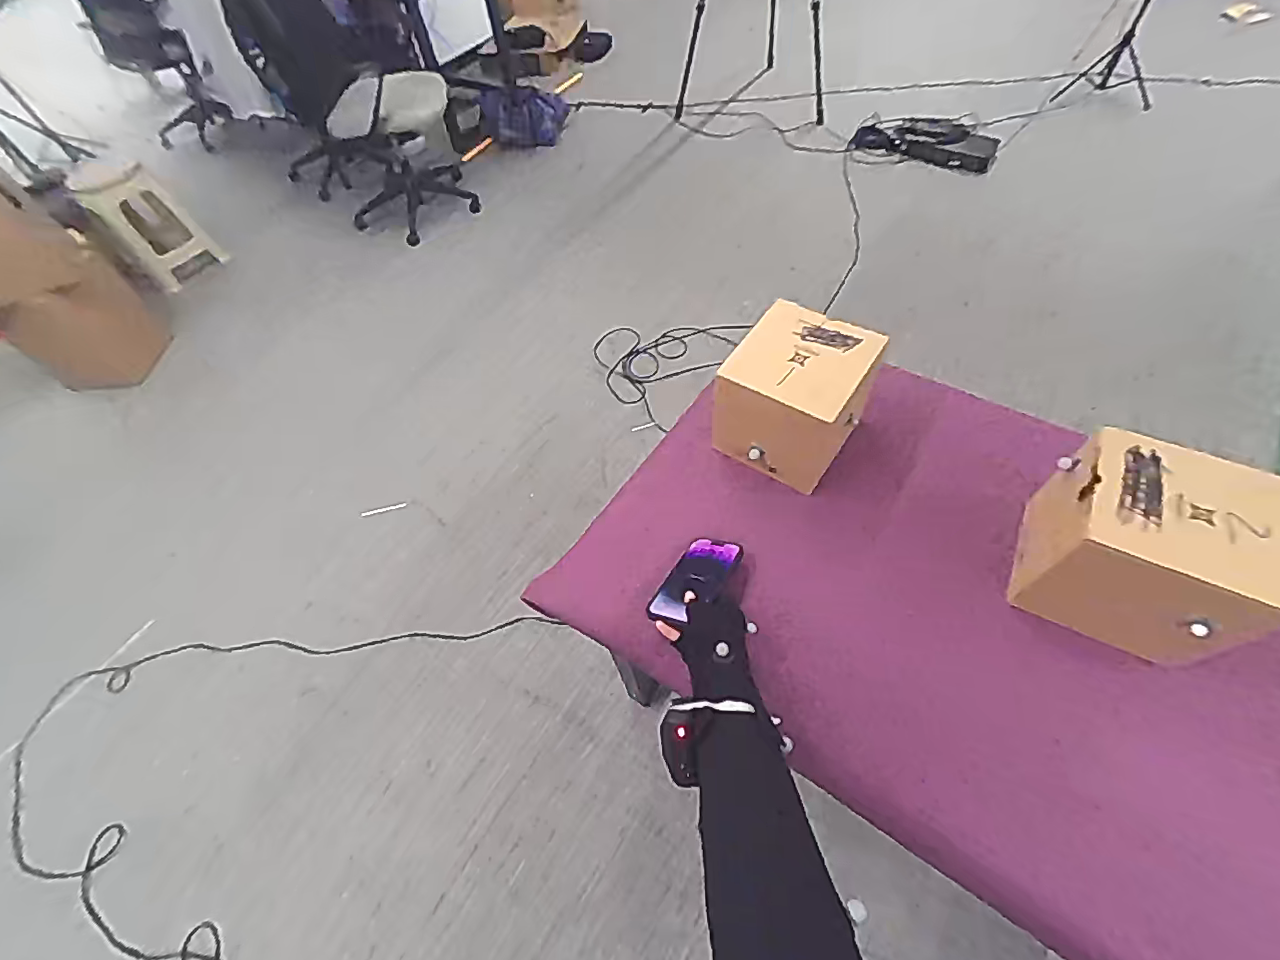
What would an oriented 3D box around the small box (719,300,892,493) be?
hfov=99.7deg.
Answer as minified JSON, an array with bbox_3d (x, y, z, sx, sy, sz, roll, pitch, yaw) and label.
[{"bbox_3d":[0.223,-0.116,0.772,0.168,0.176,0.179,30,65,23],"label":"small box"}]
